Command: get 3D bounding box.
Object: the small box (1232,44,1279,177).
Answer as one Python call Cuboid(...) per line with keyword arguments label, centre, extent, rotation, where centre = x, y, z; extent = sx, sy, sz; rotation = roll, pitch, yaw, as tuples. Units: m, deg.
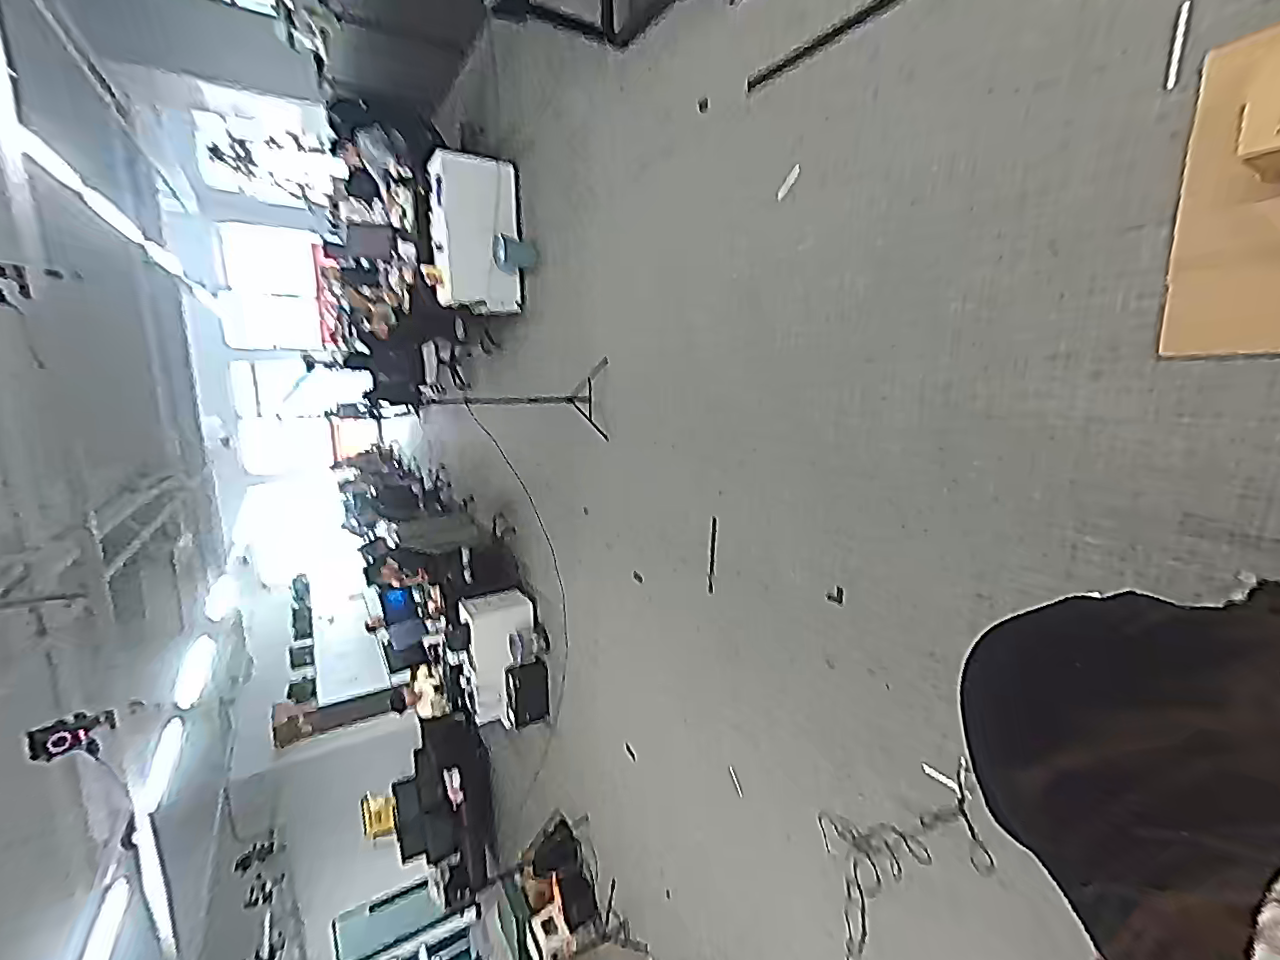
Cuboid(label="small box", centre=(1.176, -0.653, 0.932), extent=(0.168, 0.176, 0.179), rotation=(16, 109, 58))
